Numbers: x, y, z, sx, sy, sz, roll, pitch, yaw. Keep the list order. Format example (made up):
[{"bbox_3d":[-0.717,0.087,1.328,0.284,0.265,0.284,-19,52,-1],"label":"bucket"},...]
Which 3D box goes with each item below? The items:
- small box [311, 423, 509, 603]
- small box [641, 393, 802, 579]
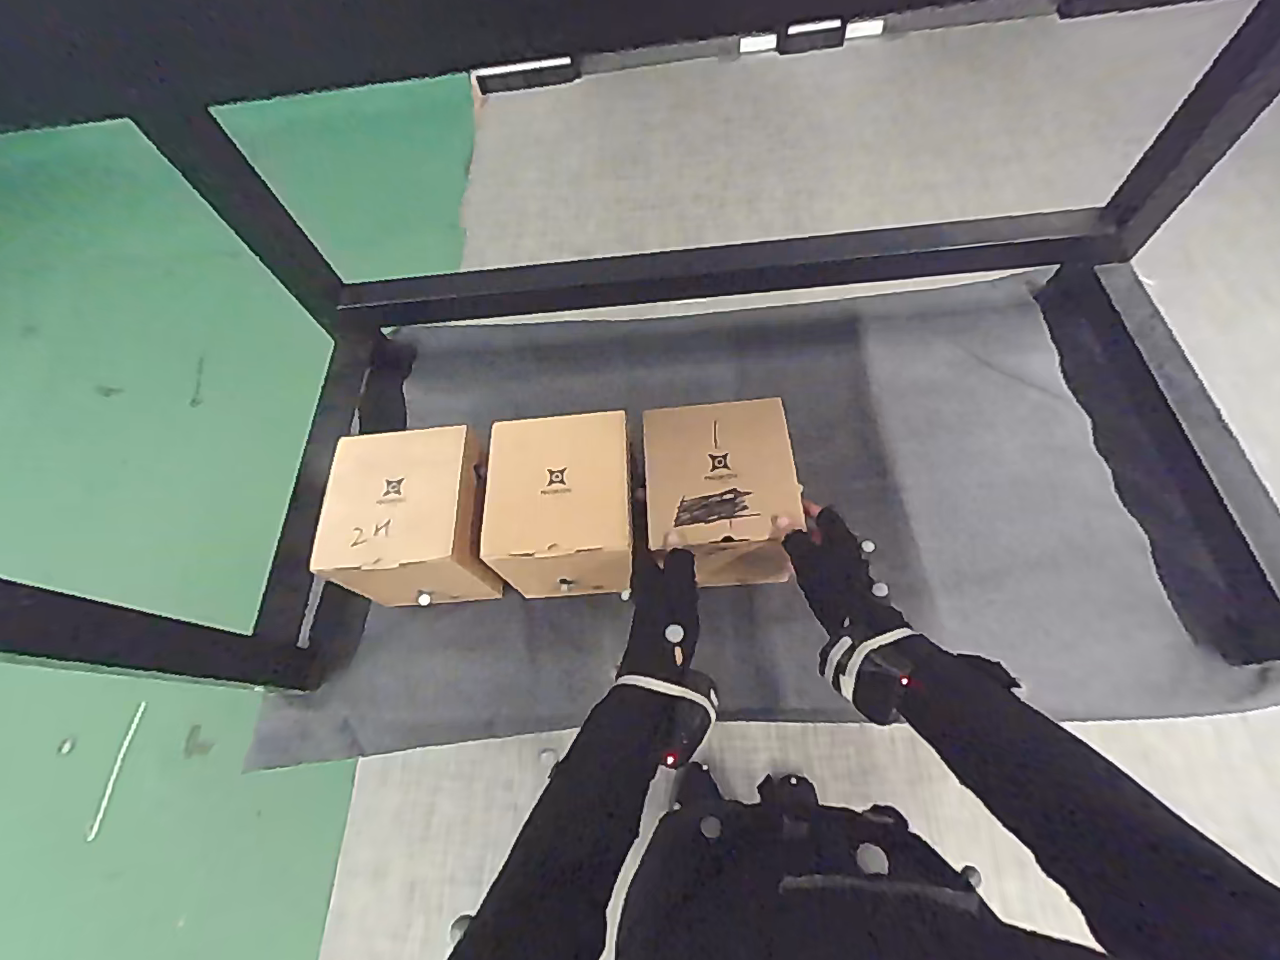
[{"bbox_3d":[-0.278,0.049,0.700,0.168,0.176,0.179,-5,63,5],"label":"small box"},{"bbox_3d":[0.094,0.019,0.667,0.168,0.176,0.179,-5,63,5],"label":"small box"}]
